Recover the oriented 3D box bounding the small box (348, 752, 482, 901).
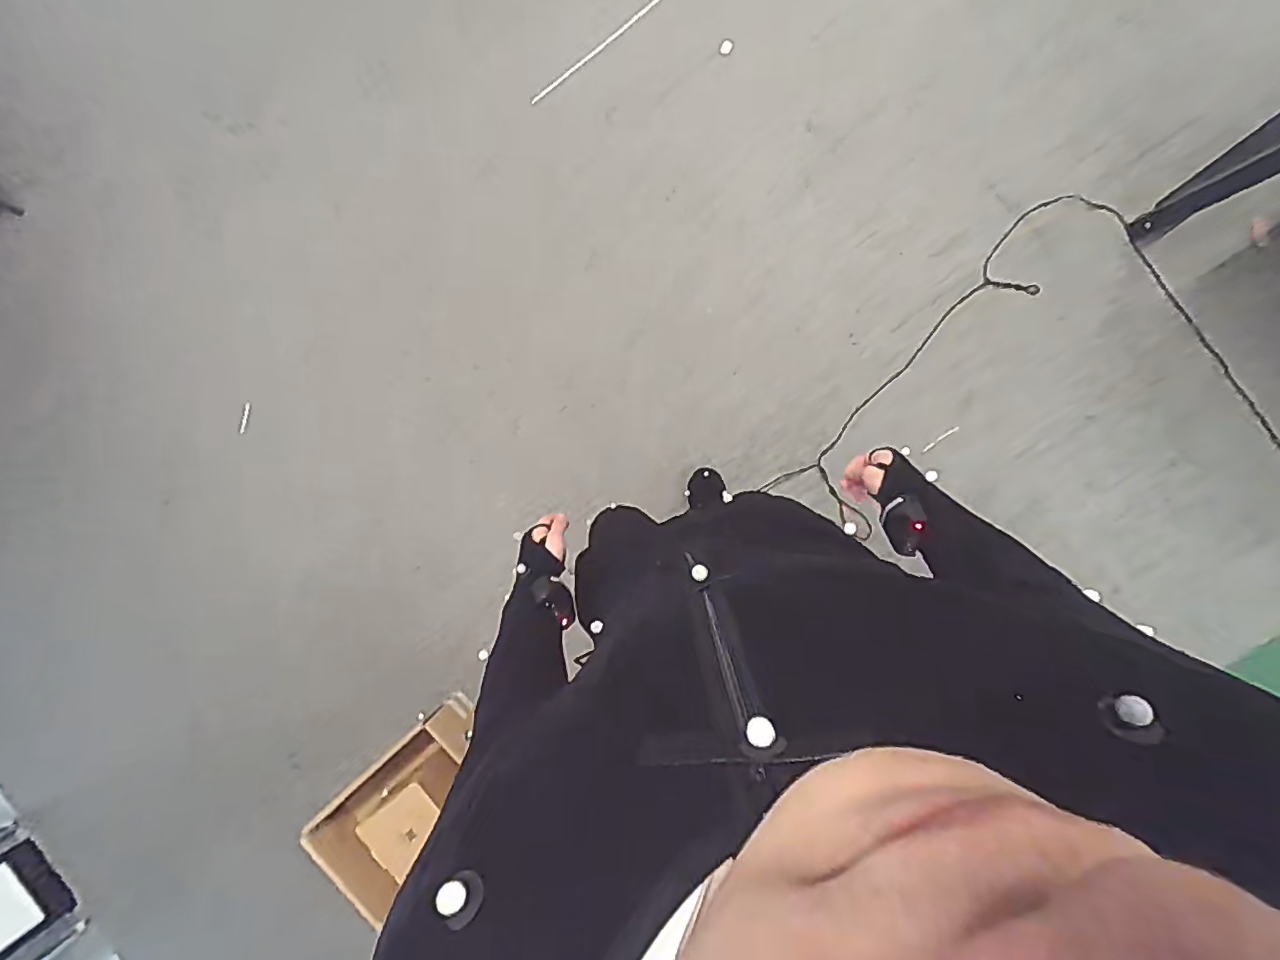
[{"bbox_3d":[-0.477,0.741,1.174,0.179,0.176,0.168,-40,90,3],"label":"small box"}]
